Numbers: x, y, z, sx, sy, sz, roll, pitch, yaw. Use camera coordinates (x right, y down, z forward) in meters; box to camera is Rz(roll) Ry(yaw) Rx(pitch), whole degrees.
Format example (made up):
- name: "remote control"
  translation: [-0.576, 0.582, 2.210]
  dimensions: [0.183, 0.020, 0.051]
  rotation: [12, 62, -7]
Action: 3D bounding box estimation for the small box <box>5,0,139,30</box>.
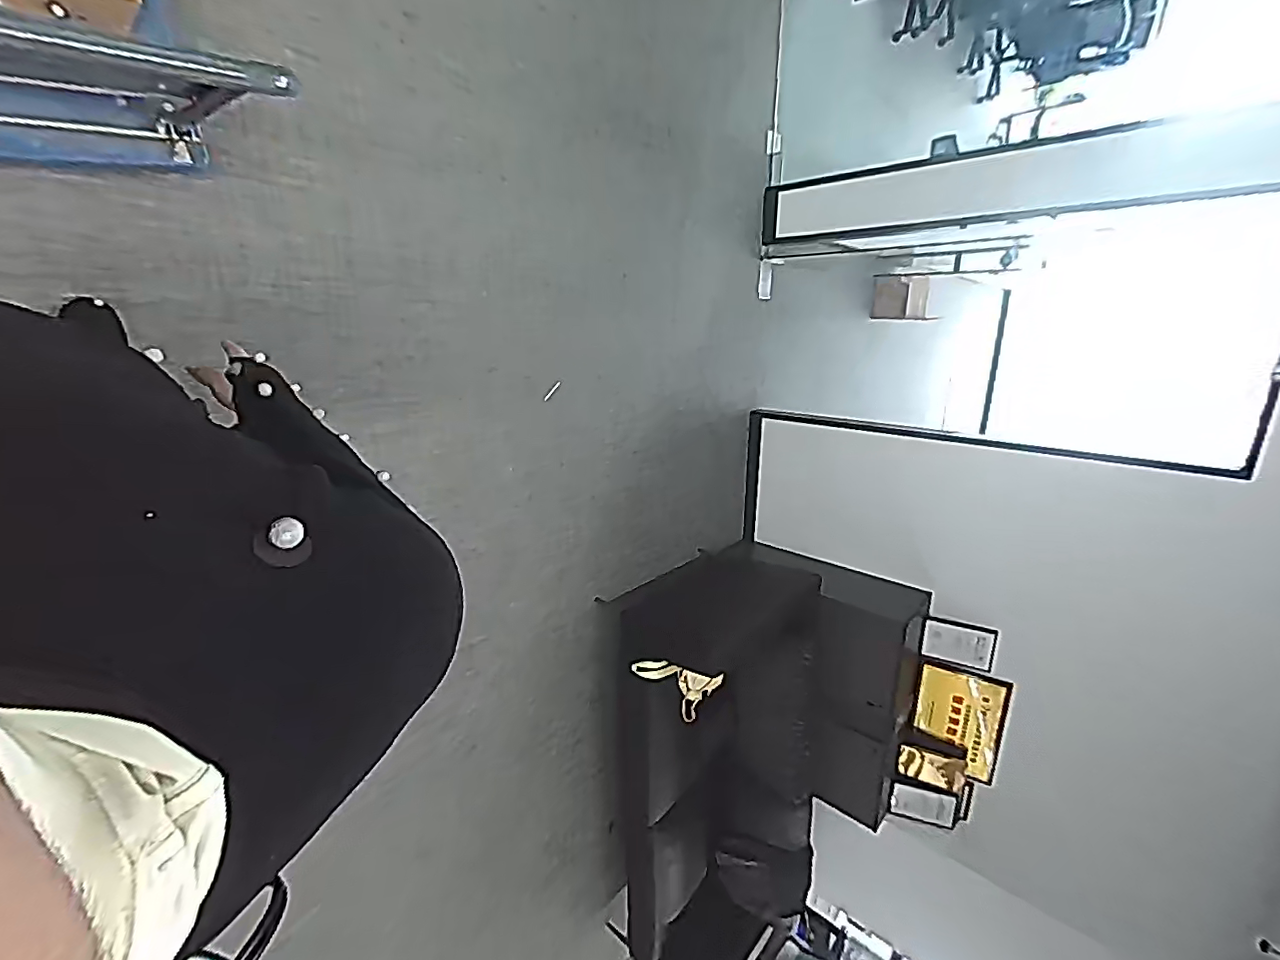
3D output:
- name: "small box"
  translation: [-0.932, -0.860, 0.847]
  dimensions: [0.168, 0.176, 0.179]
  rotation: [-22, 117, -44]
